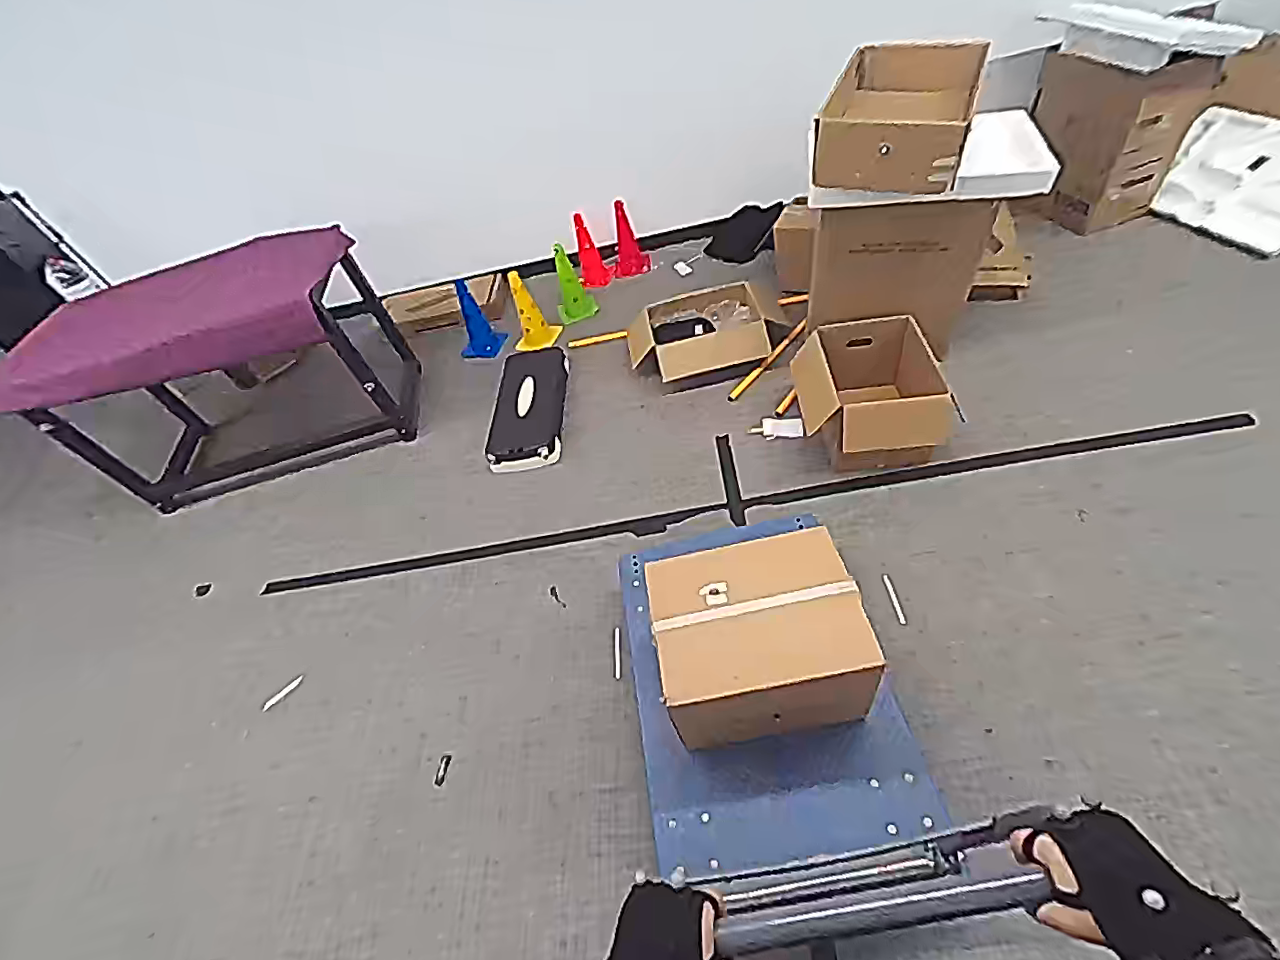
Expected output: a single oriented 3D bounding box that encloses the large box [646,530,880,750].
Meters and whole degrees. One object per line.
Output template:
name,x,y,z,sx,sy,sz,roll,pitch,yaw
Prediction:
large box,0.256,0.361,1.196,0.408,0.320,0.320,-14,47,4
